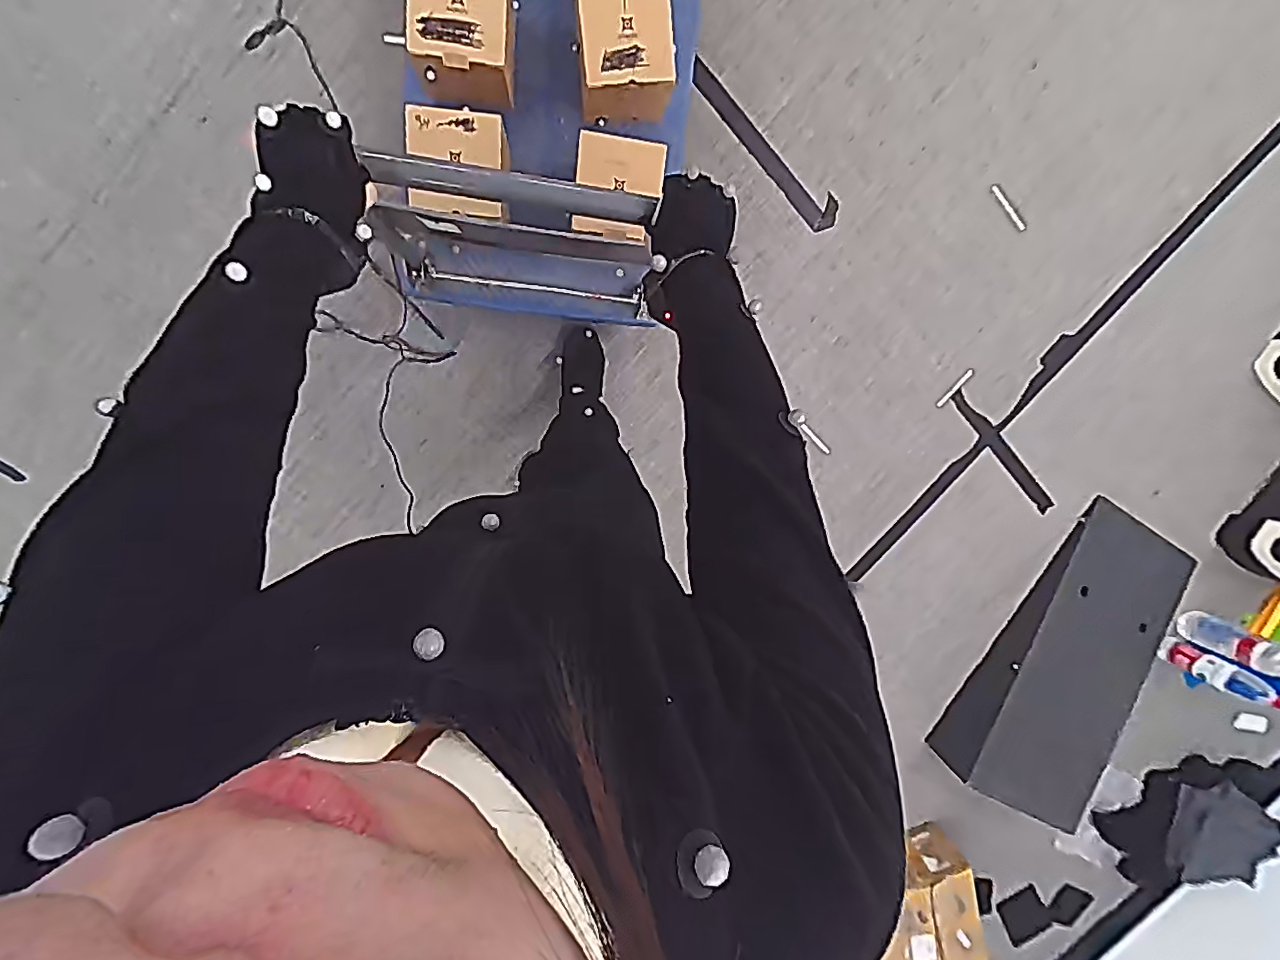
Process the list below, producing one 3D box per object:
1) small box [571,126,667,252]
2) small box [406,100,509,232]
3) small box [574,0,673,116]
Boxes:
[{"bbox_3d":[-0.050,-0.574,1.094,0.168,0.176,0.179,5,101,-9],"label":"small box"},{"bbox_3d":[-0.343,-0.593,1.047,0.168,0.176,0.179,1,102,-9],"label":"small box"},{"bbox_3d":[-0.035,-0.826,1.038,0.168,0.176,0.179,-7,103,-6],"label":"small box"}]
